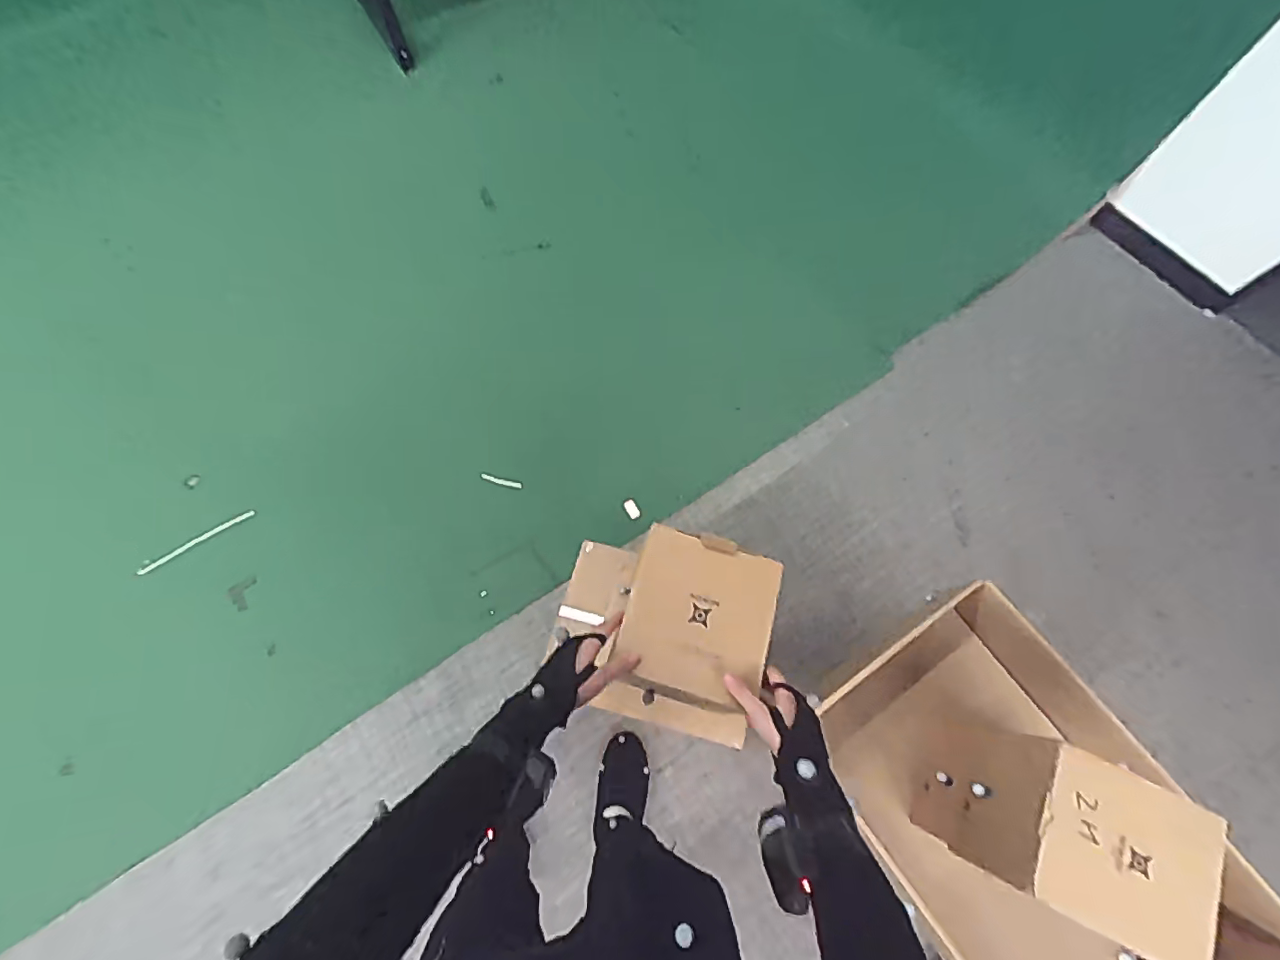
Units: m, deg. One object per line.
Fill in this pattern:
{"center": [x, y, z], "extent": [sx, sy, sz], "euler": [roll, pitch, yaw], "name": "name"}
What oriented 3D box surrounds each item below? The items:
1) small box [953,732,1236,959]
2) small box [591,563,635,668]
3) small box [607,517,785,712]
{"center": [0.512, 0.414, 0.632], "extent": [0.179, 0.176, 0.168], "euler": [25, 72, 11], "name": "small box"}
{"center": [0.022, 0.272, 0.981], "extent": [0.168, 0.176, 0.179], "euler": [17, 71, 8], "name": "small box"}
{"center": [0.060, 0.173, 0.670], "extent": [0.168, 0.176, 0.179], "euler": [17, 67, 2], "name": "small box"}
